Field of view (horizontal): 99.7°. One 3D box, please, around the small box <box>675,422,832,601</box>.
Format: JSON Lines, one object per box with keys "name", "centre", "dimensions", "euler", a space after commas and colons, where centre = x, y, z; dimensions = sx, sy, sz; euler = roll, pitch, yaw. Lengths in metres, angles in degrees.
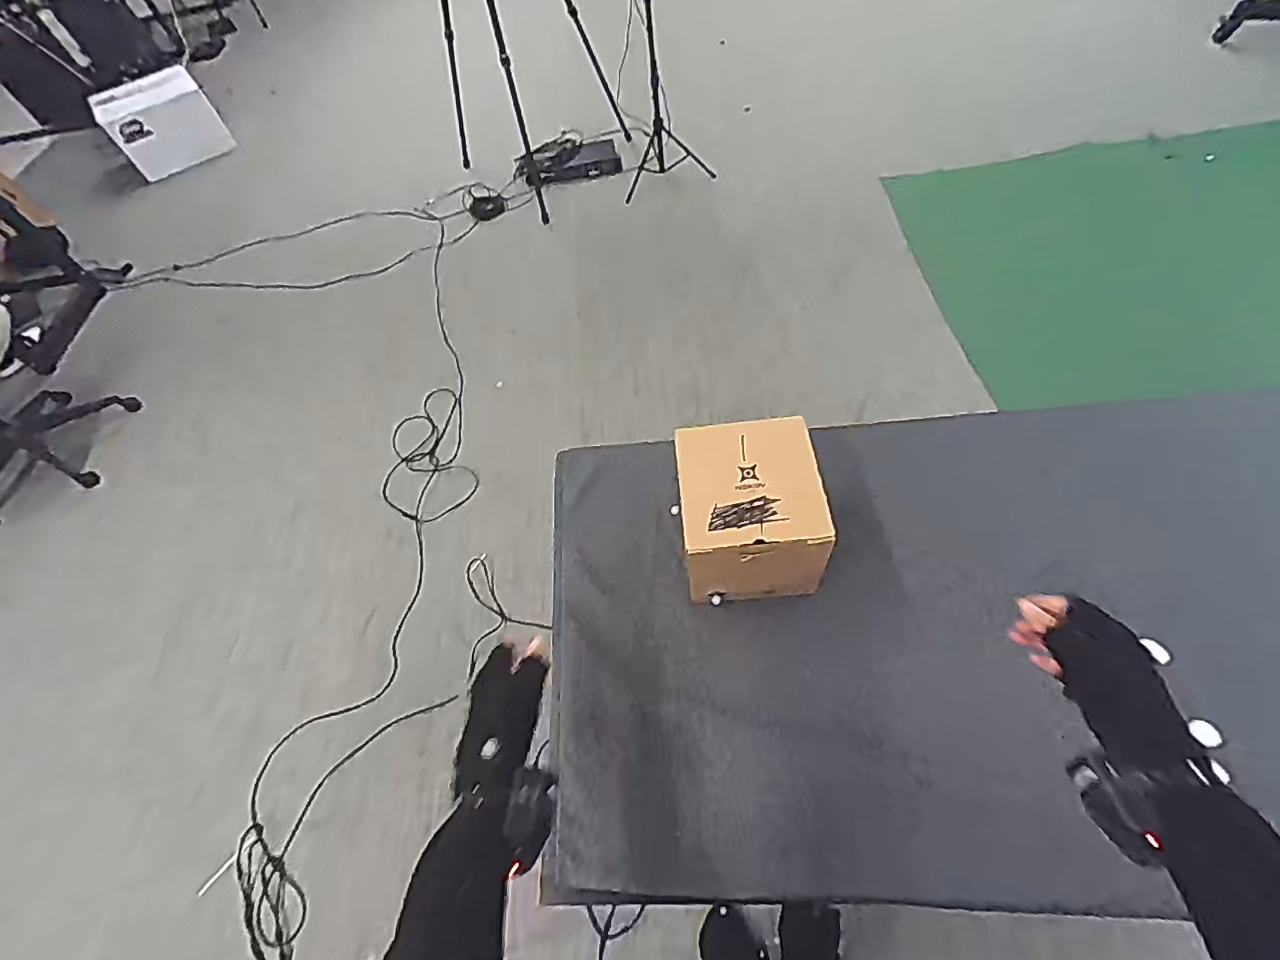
{"name": "small box", "centre": [0.139, 0.050, 0.707], "dimensions": [0.168, 0.176, 0.179], "euler": [-6, 56, 5]}
